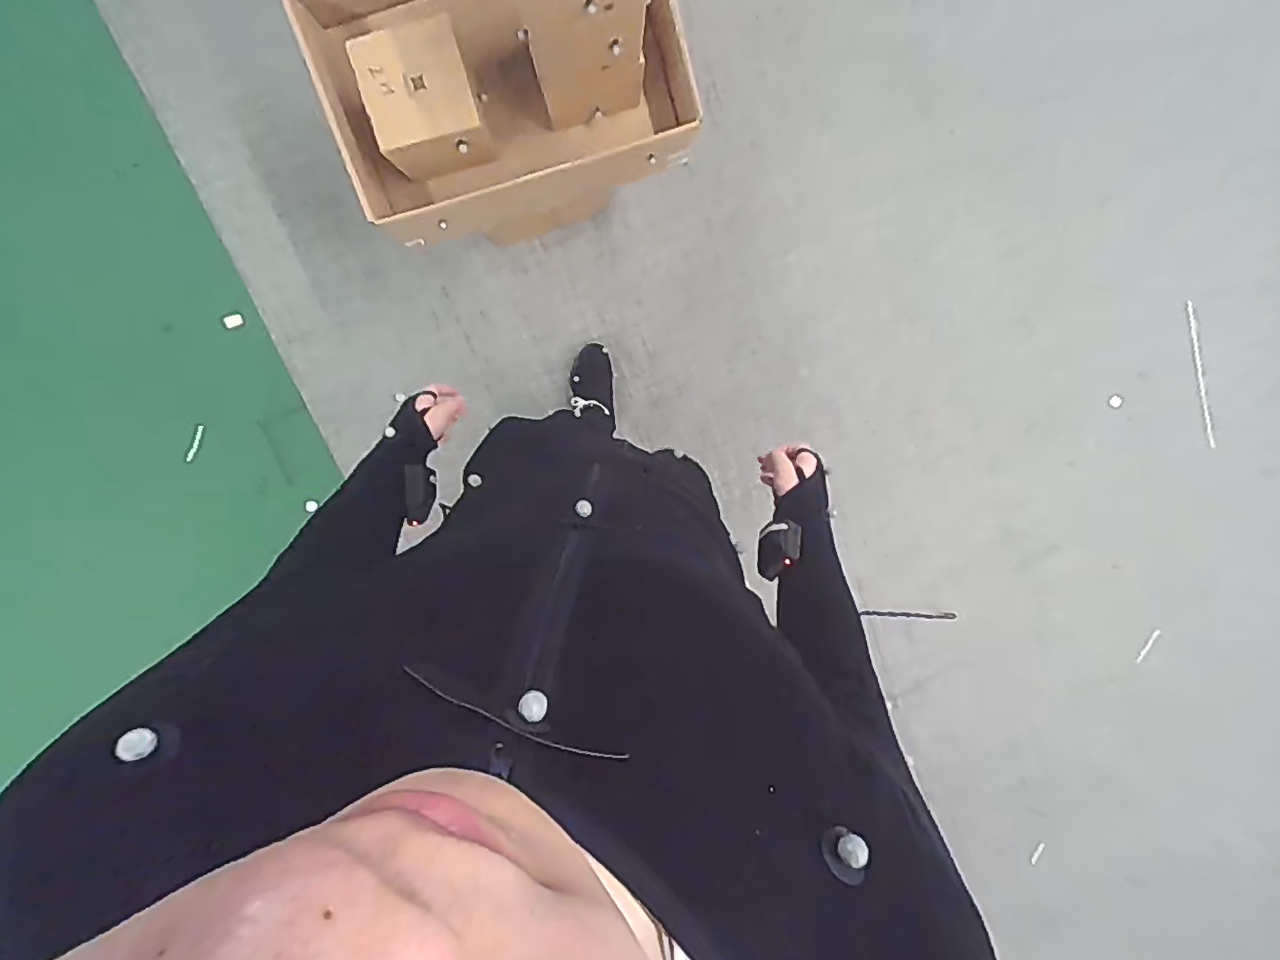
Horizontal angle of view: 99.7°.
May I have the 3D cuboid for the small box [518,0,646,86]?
[{"bbox_3d":[-0.095,-0.715,0.788,0.168,0.176,0.179,-17,103,0],"label":"small box"}]
